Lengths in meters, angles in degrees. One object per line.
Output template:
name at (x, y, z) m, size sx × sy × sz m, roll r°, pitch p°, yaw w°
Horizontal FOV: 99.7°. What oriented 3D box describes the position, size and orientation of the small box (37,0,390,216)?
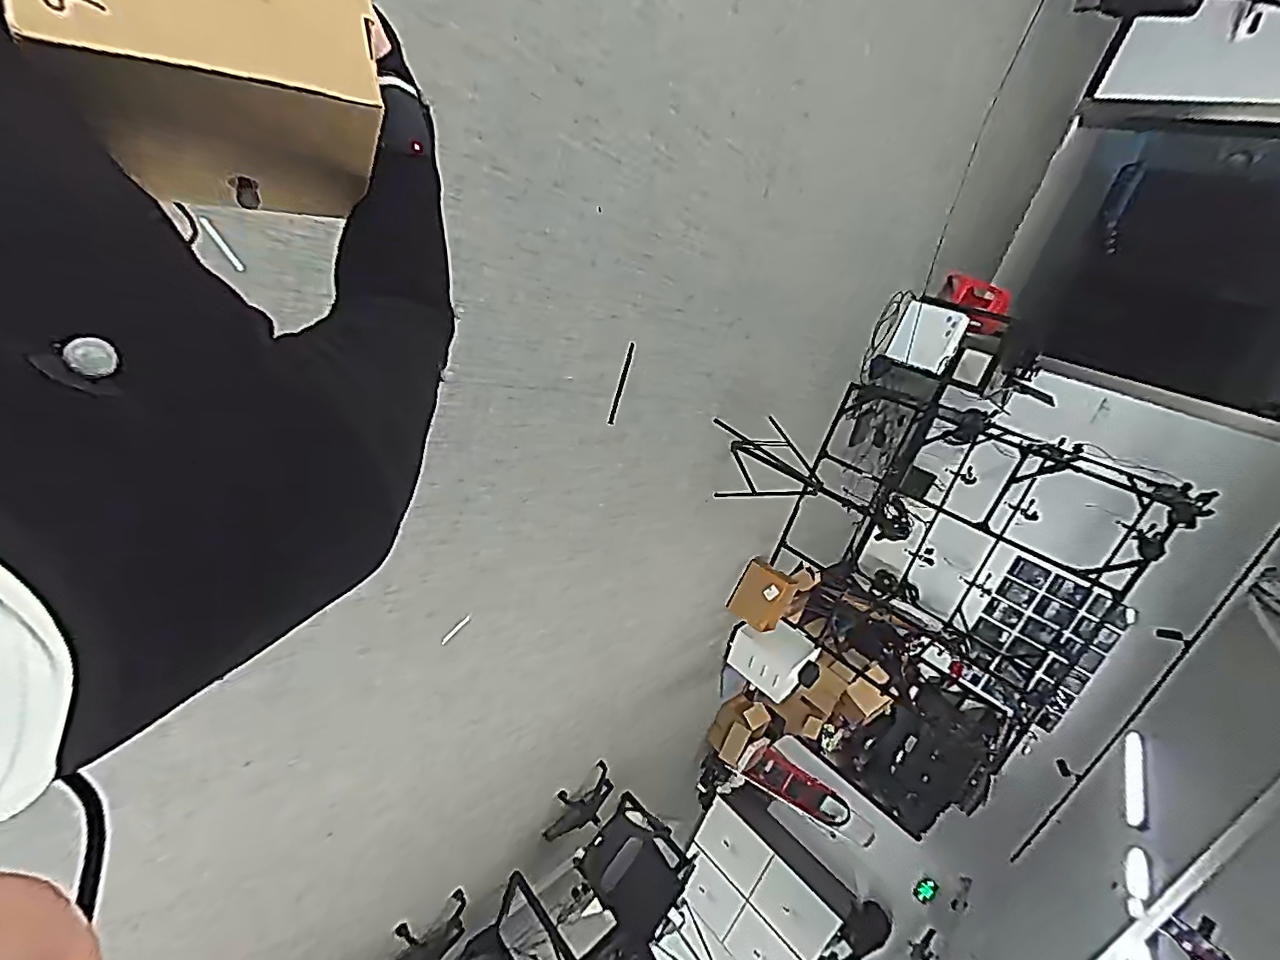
small box at (-0.304, -0.319, 0.401) m, size 0.179 × 0.176 × 0.168 m, roll -10°, pitch 92°, yaw -33°
